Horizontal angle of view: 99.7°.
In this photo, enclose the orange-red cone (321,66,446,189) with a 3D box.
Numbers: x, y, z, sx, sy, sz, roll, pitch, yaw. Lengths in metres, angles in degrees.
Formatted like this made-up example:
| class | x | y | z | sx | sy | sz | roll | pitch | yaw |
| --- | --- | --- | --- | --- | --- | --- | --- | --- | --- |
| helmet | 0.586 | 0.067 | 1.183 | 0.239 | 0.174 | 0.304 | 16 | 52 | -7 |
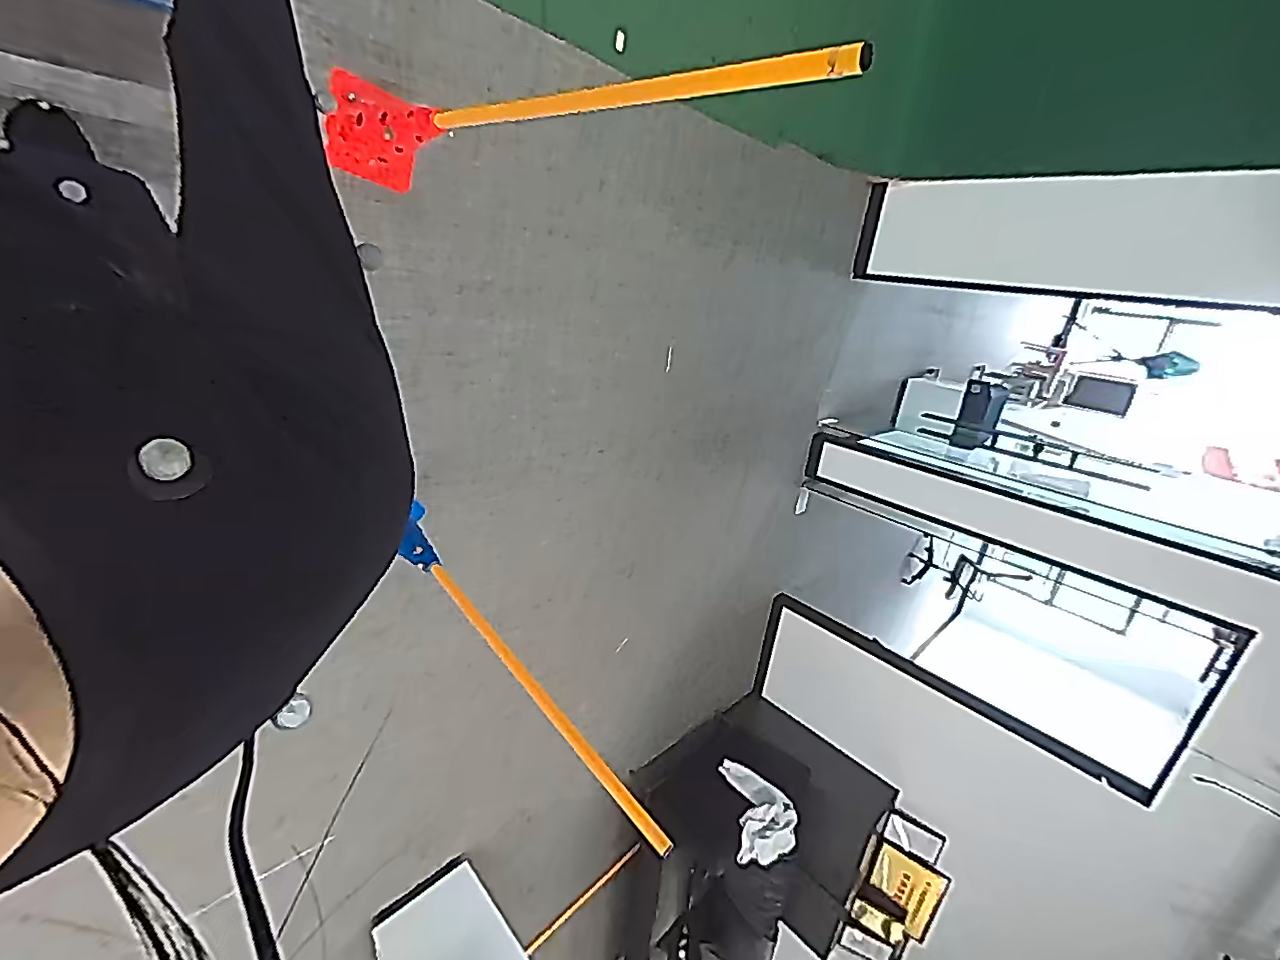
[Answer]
| class | x | y | z | sx | sy | sz | roll | pitch | yaw |
| --- | --- | --- | --- | --- | --- | --- | --- | --- | --- |
| orange-red cone | -0.510 | -0.759 | 1.154 | 0.198 | 0.360 | 0.199 | 3 | 108 | -47 |
